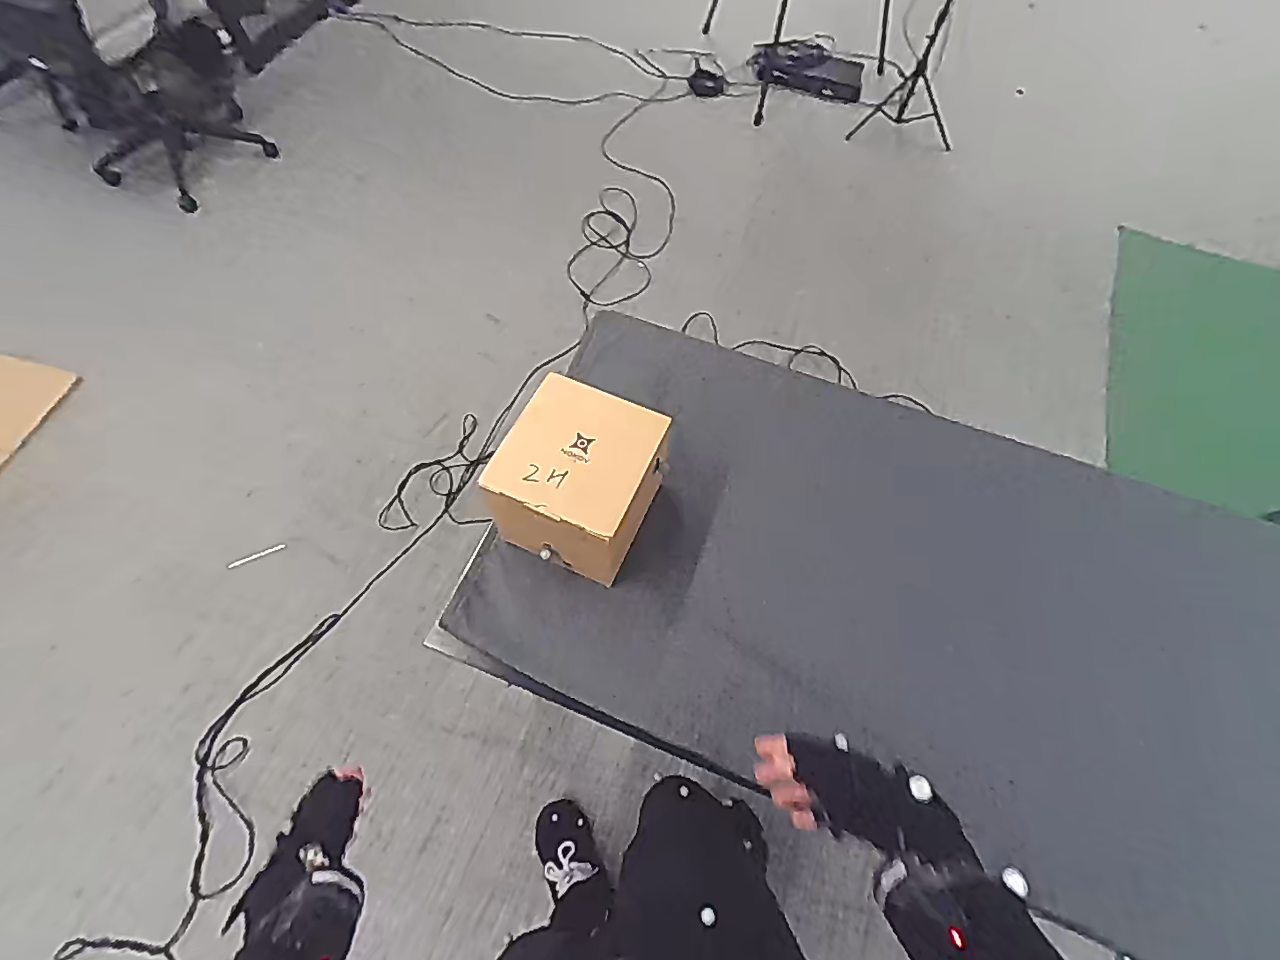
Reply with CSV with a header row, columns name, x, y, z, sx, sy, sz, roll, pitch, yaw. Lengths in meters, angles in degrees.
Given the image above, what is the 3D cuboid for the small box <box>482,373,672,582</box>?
name,x,y,z,sx,sy,sz,roll,pitch,yaw
small box,-0.073,0.002,0.690,0.168,0.176,0.179,22,64,9
